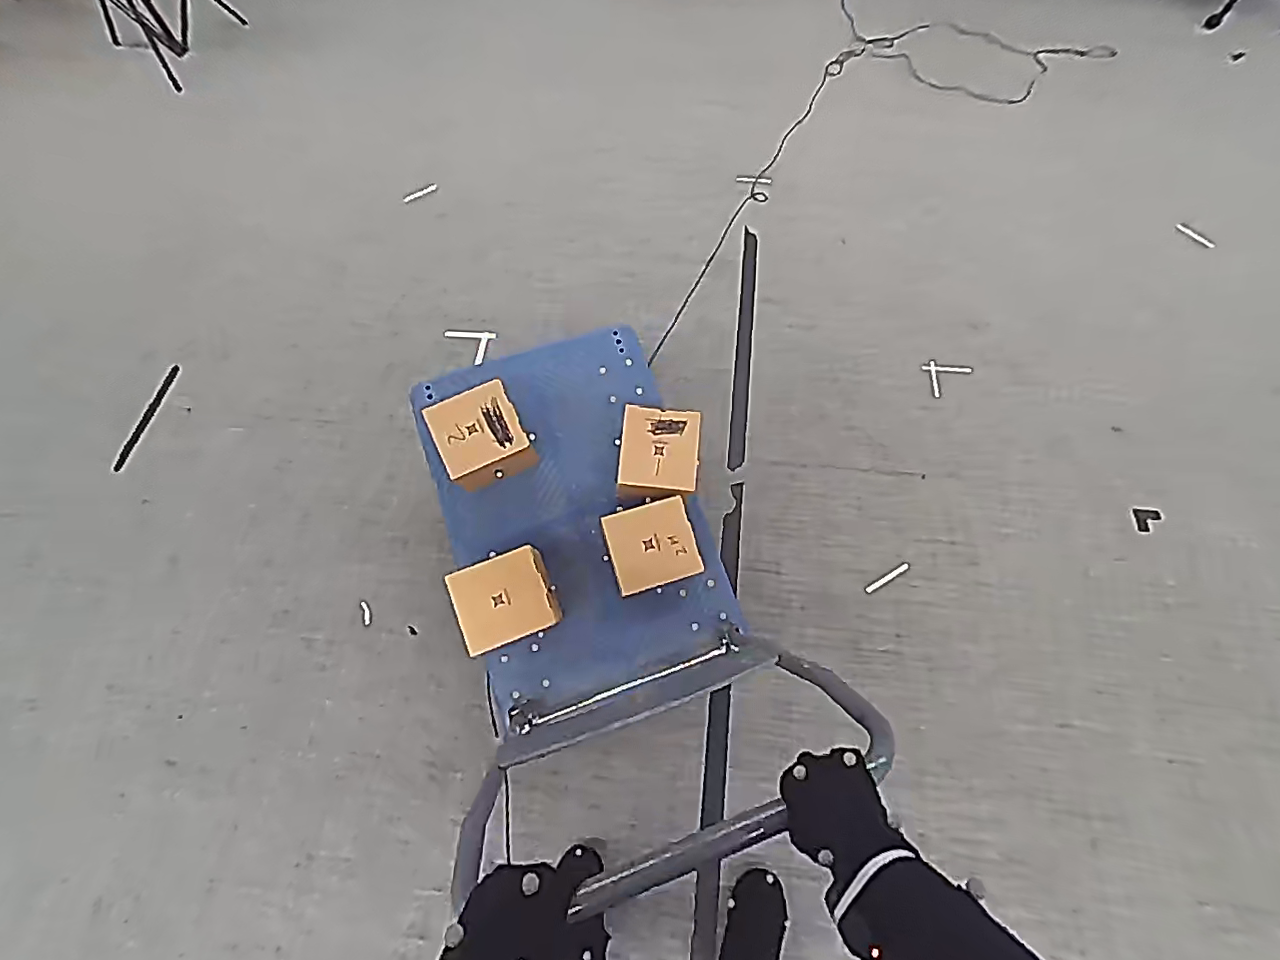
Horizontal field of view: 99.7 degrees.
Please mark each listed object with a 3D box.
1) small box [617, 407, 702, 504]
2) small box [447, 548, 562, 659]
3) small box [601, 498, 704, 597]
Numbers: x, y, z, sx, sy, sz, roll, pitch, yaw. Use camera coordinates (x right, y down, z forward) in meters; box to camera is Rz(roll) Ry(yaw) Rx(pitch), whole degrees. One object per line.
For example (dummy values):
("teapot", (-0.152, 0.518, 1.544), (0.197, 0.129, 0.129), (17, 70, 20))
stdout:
("small box", (0.039, -0.046, 1.214), (0.168, 0.176, 0.179), (6, 78, -2))
("small box", (-0.274, 0.258, 1.130), (0.179, 0.176, 0.168), (-21, 80, -10))
("small box", (0.023, 0.153, 1.170), (0.179, 0.176, 0.168), (-16, 80, -7))
